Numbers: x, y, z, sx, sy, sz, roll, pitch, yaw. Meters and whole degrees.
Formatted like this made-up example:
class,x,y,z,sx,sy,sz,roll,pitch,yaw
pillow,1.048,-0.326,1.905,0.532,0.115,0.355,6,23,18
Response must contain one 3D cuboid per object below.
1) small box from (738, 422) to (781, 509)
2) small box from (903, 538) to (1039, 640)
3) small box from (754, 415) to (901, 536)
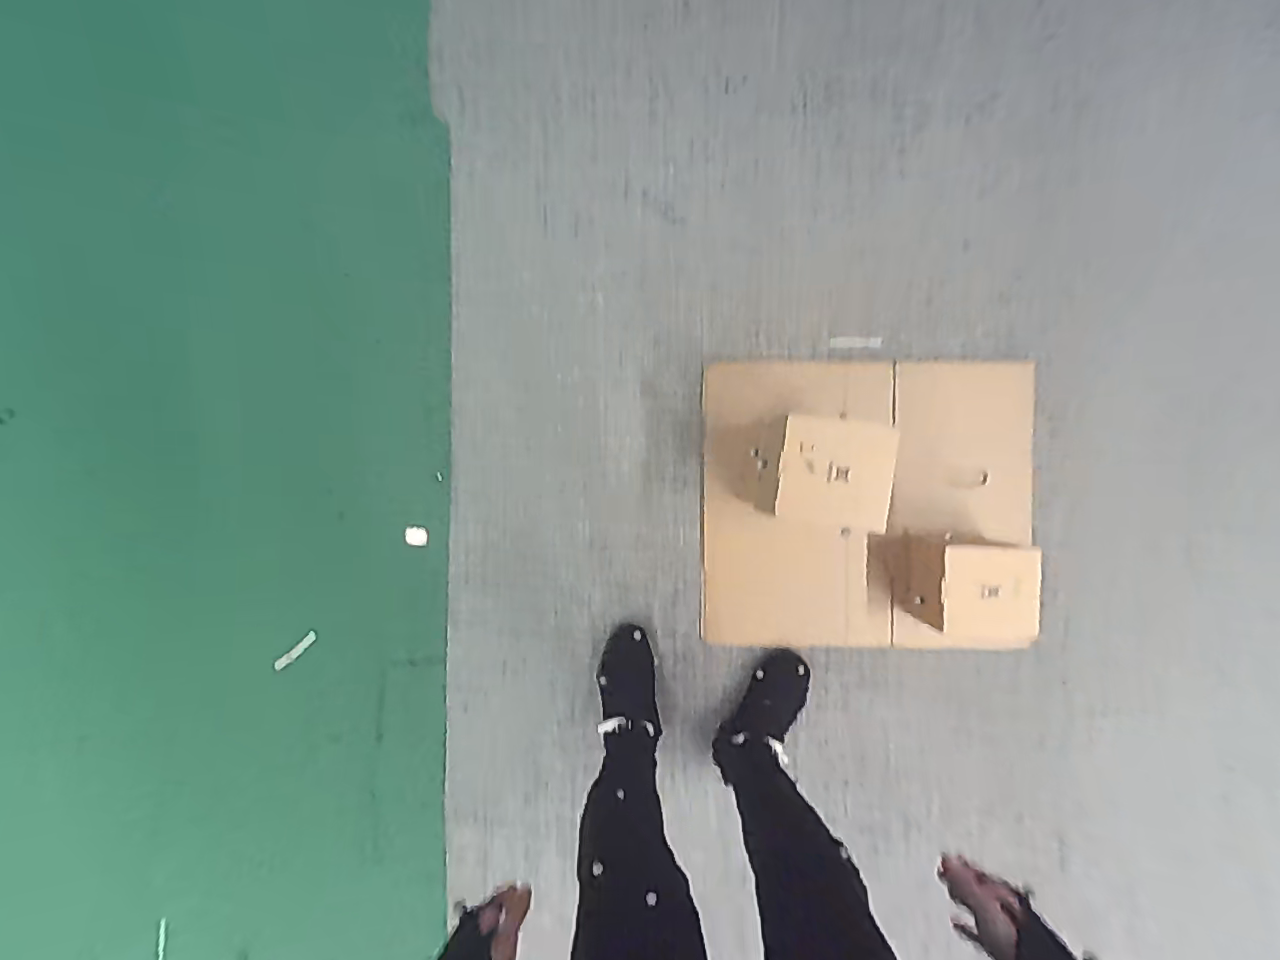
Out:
class,x,y,z,sx,sy,sz,roll,pitch,yaw
small box,0.306,-0.017,1.074,0.179,0.176,0.168,9,90,1
small box,0.643,0.207,1.069,0.179,0.176,0.168,2,91,2
small box,0.304,-0.008,0.908,0.179,0.176,0.168,8,90,1
